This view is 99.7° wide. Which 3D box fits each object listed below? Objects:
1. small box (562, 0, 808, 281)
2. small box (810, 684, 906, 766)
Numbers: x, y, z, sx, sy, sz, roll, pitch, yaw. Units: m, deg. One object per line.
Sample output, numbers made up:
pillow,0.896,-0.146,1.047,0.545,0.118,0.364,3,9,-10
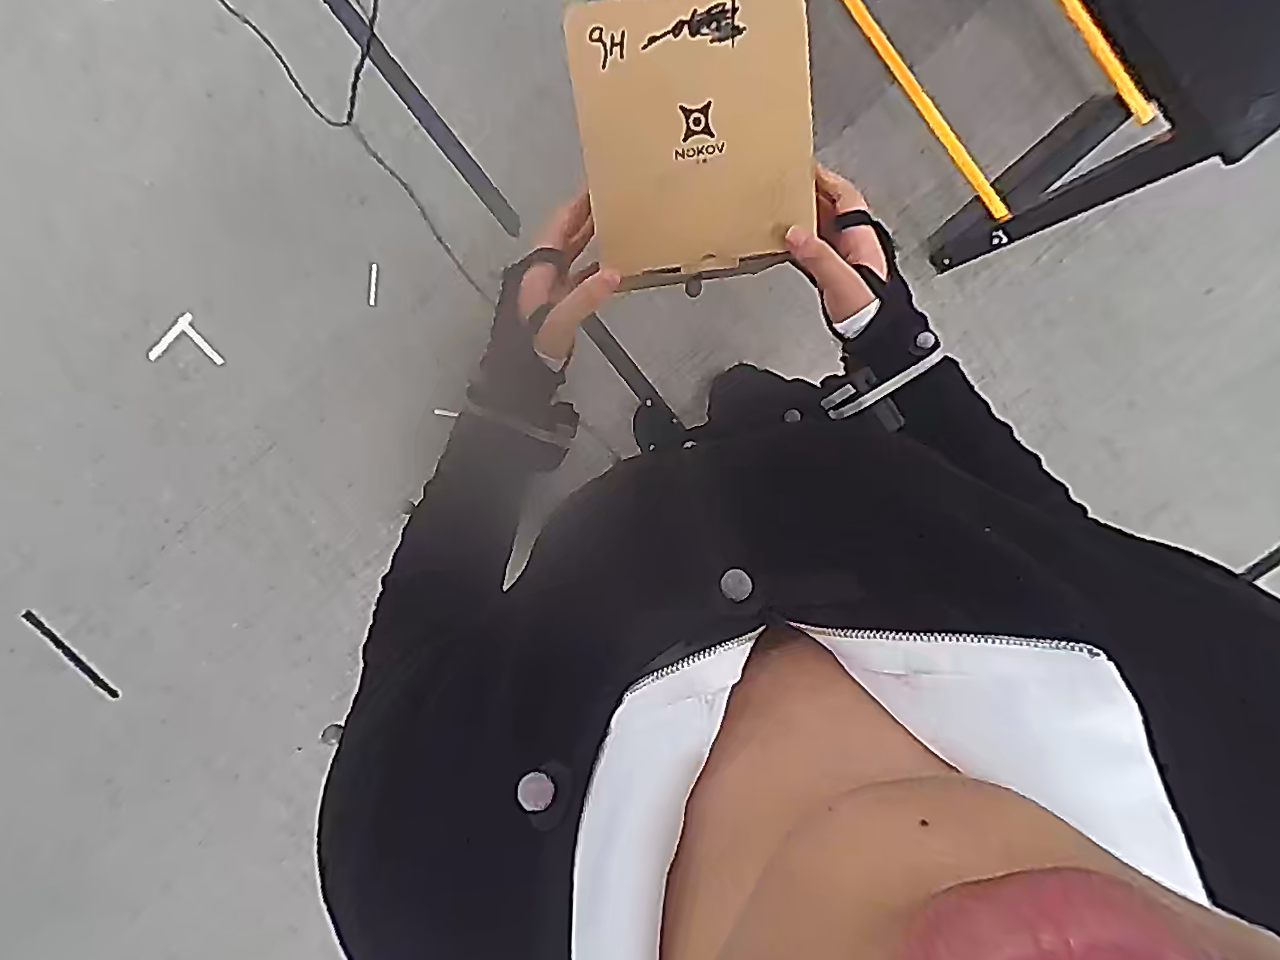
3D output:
small box,0.036,-0.273,0.466,0.168,0.176,0.179,-9,108,0
small box,0.607,0.725,1.535,0.179,0.176,0.168,-40,96,7
